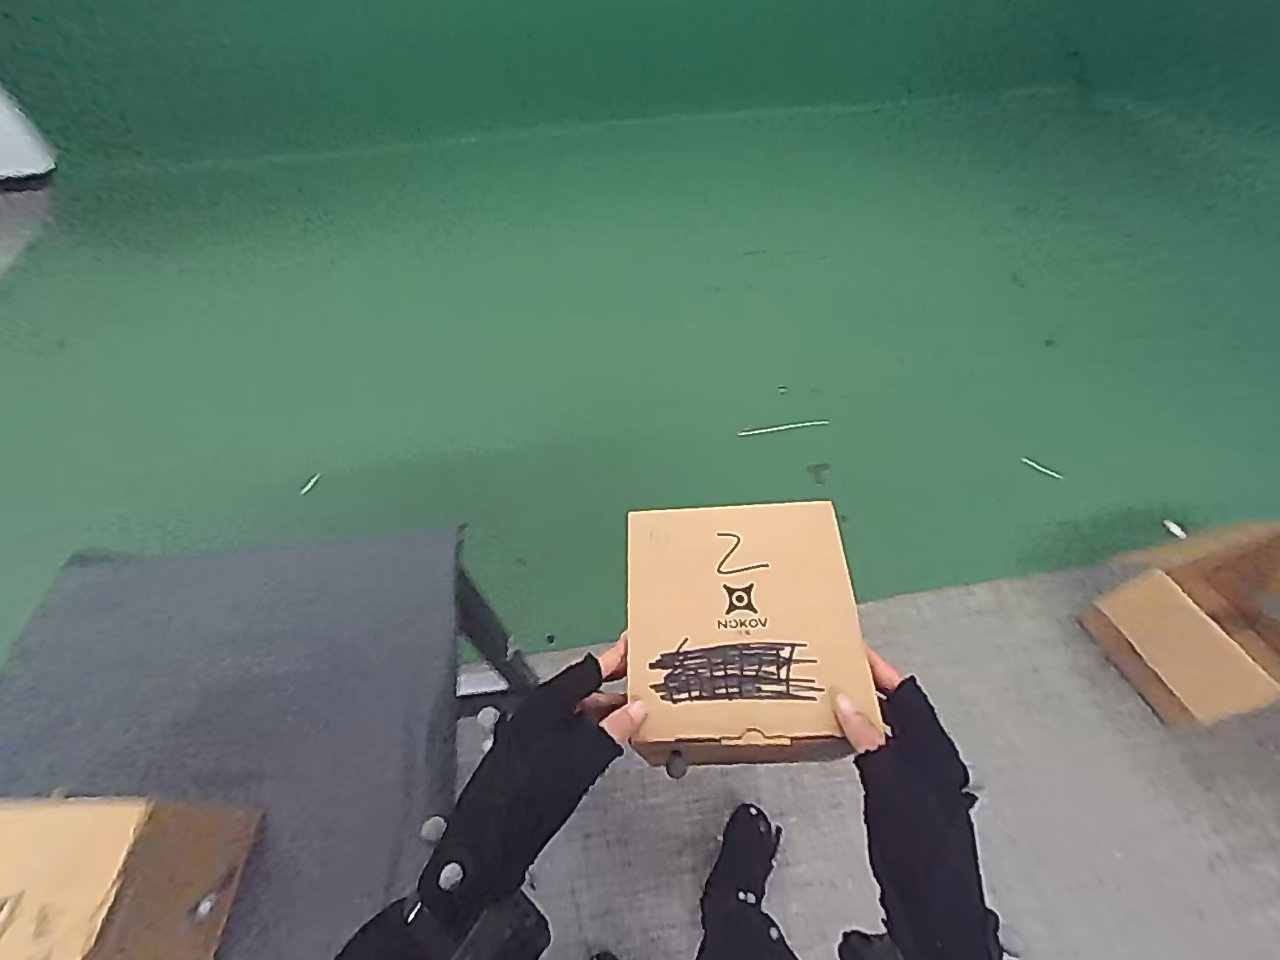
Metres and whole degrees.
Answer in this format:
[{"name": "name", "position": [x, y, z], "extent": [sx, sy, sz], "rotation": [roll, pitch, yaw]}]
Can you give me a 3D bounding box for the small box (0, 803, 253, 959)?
[{"name": "small box", "position": [-0.527, 0.409, 0.510], "extent": [0.179, 0.176, 0.168], "rotation": [-1, 54, 1]}]
